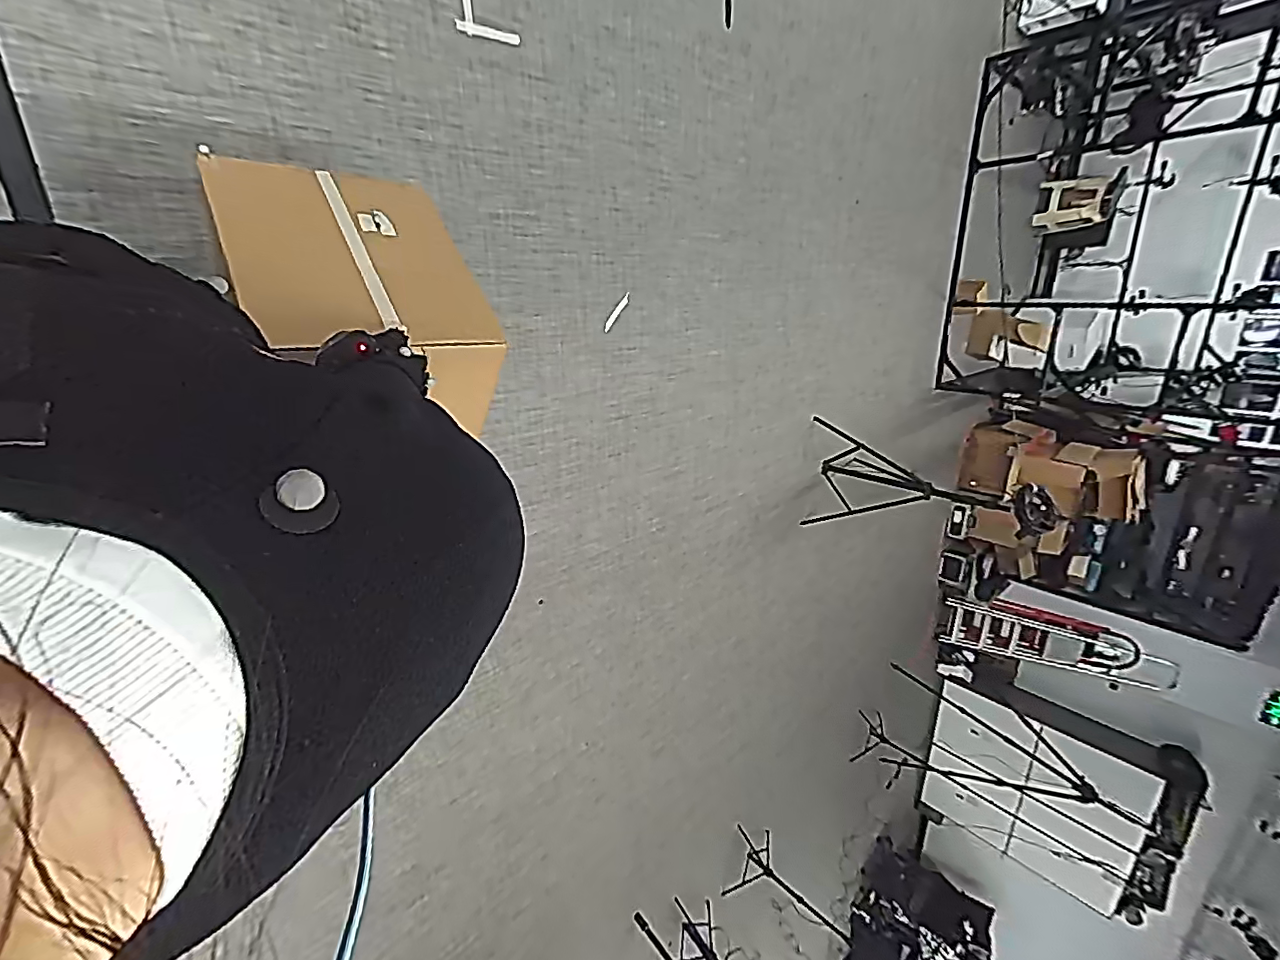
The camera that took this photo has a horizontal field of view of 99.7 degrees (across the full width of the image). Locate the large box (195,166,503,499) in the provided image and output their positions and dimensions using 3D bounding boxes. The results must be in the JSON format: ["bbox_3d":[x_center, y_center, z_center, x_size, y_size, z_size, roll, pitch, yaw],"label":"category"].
[{"bbox_3d":[-0.480,-0.236,0.894,0.320,0.408,0.320,-13,150,-40],"label":"large box"}]
